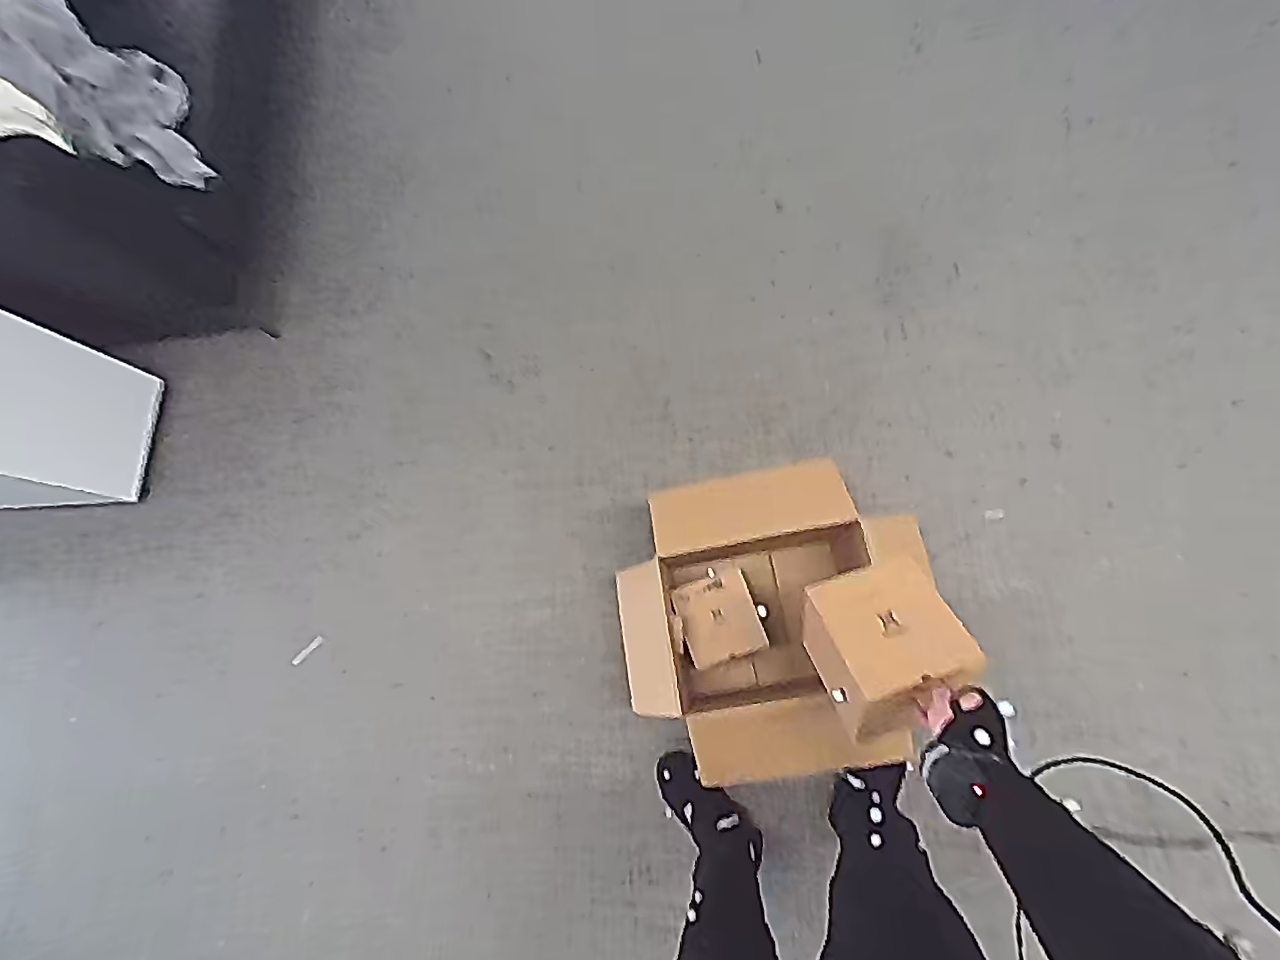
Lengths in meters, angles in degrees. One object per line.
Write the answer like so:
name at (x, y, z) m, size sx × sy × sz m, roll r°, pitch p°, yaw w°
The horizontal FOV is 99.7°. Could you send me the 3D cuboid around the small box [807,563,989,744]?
small box at (0.354, 0.255, 0.778) m, size 0.168 × 0.176 × 0.179 m, roll -16°, pitch 42°, yaw -1°
